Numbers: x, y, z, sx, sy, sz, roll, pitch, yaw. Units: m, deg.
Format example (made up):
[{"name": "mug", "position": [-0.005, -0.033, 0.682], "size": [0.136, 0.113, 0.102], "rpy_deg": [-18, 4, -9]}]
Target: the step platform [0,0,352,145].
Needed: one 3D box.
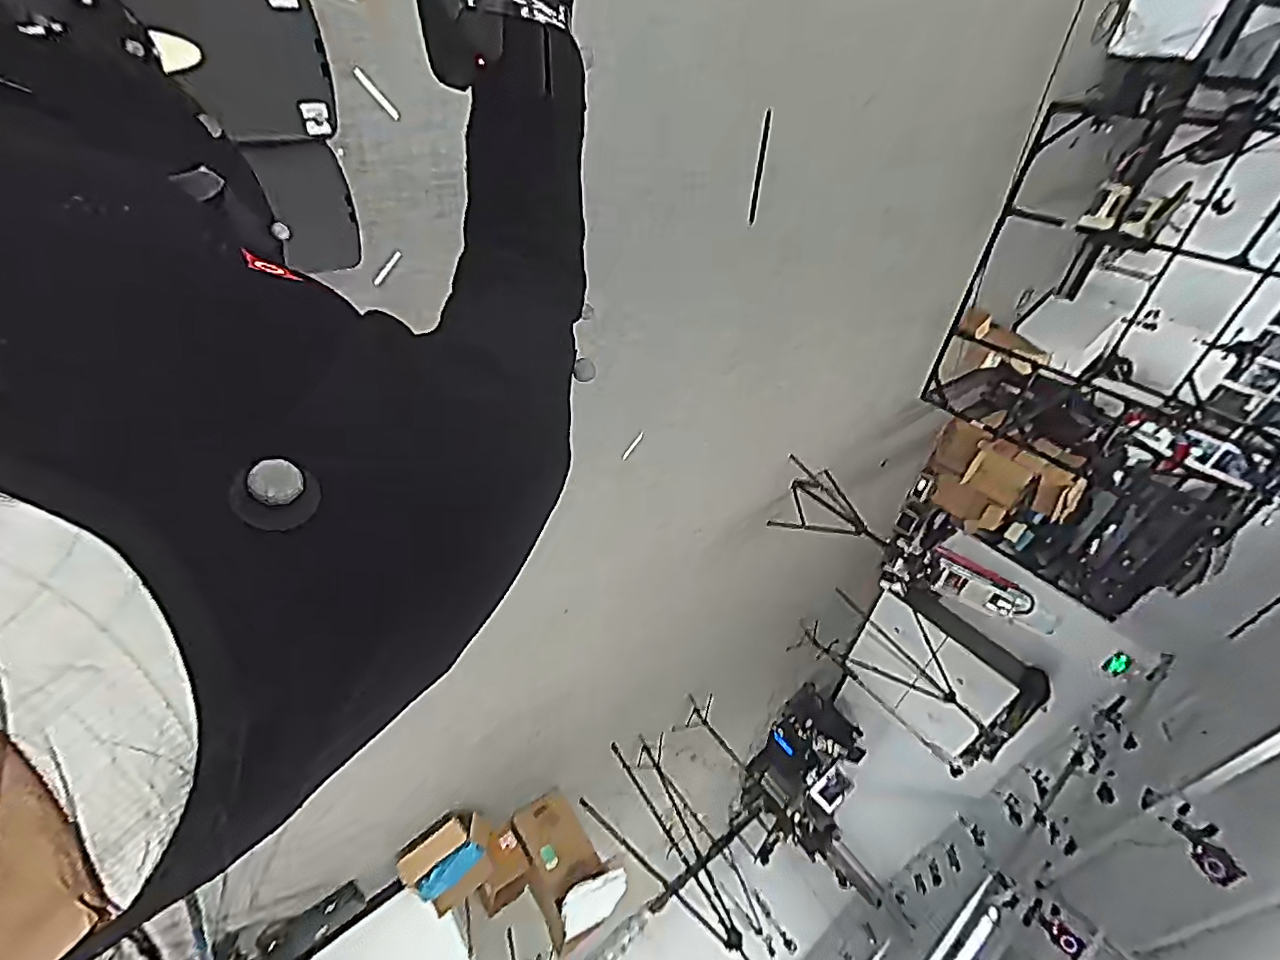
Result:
[{"name": "step platform", "position": [-0.900, -0.780, 0.955], "size": [0.684, 0.204, 0.286], "rpy_deg": [-25, 138, -30]}]
